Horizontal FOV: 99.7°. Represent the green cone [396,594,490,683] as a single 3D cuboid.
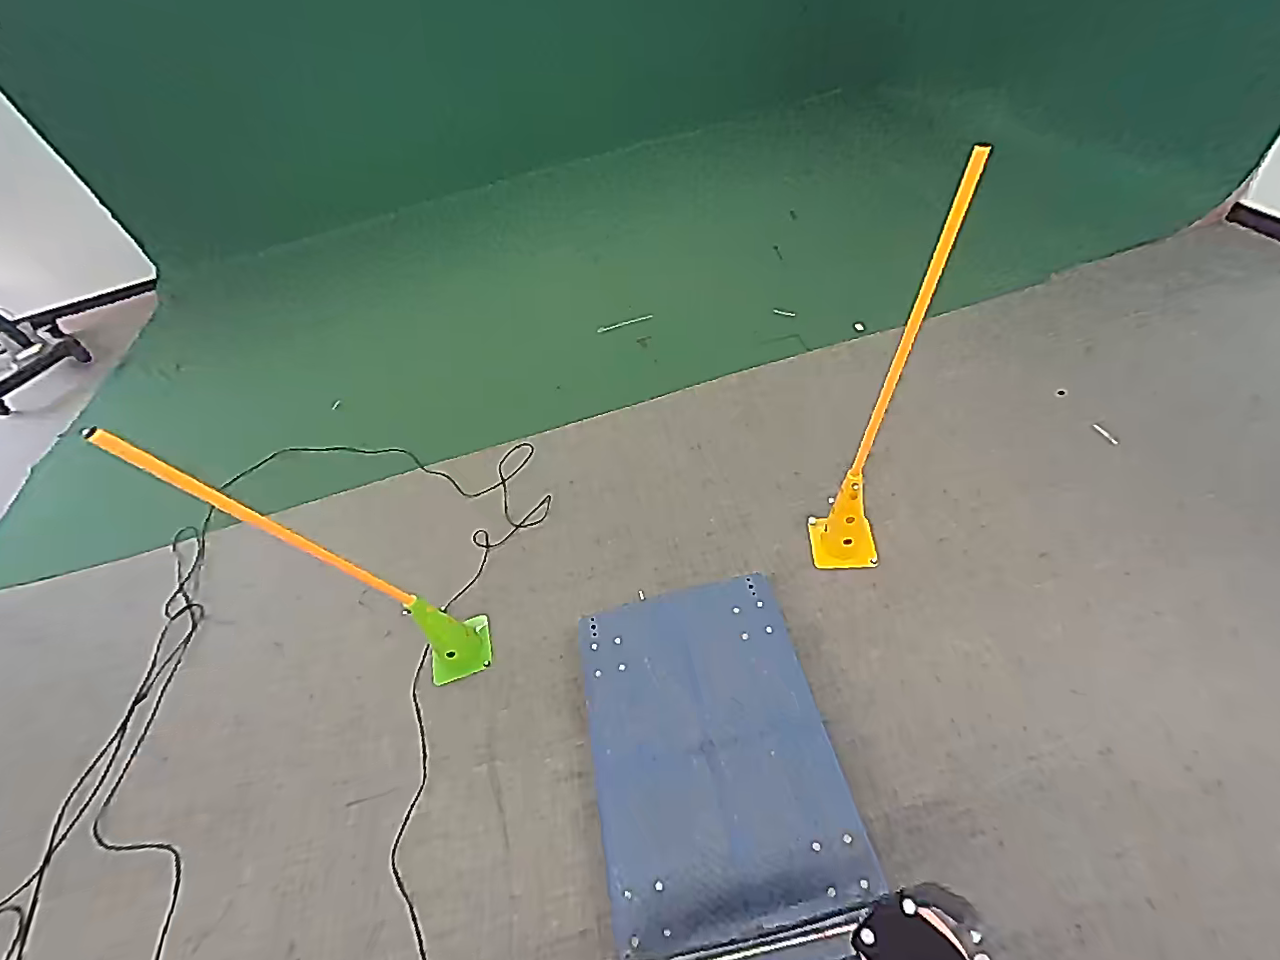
[{"bbox_3d":[-0.639,0.449,1.679,0.202,0.368,0.200,-21,48,-2],"label":"green cone"}]
